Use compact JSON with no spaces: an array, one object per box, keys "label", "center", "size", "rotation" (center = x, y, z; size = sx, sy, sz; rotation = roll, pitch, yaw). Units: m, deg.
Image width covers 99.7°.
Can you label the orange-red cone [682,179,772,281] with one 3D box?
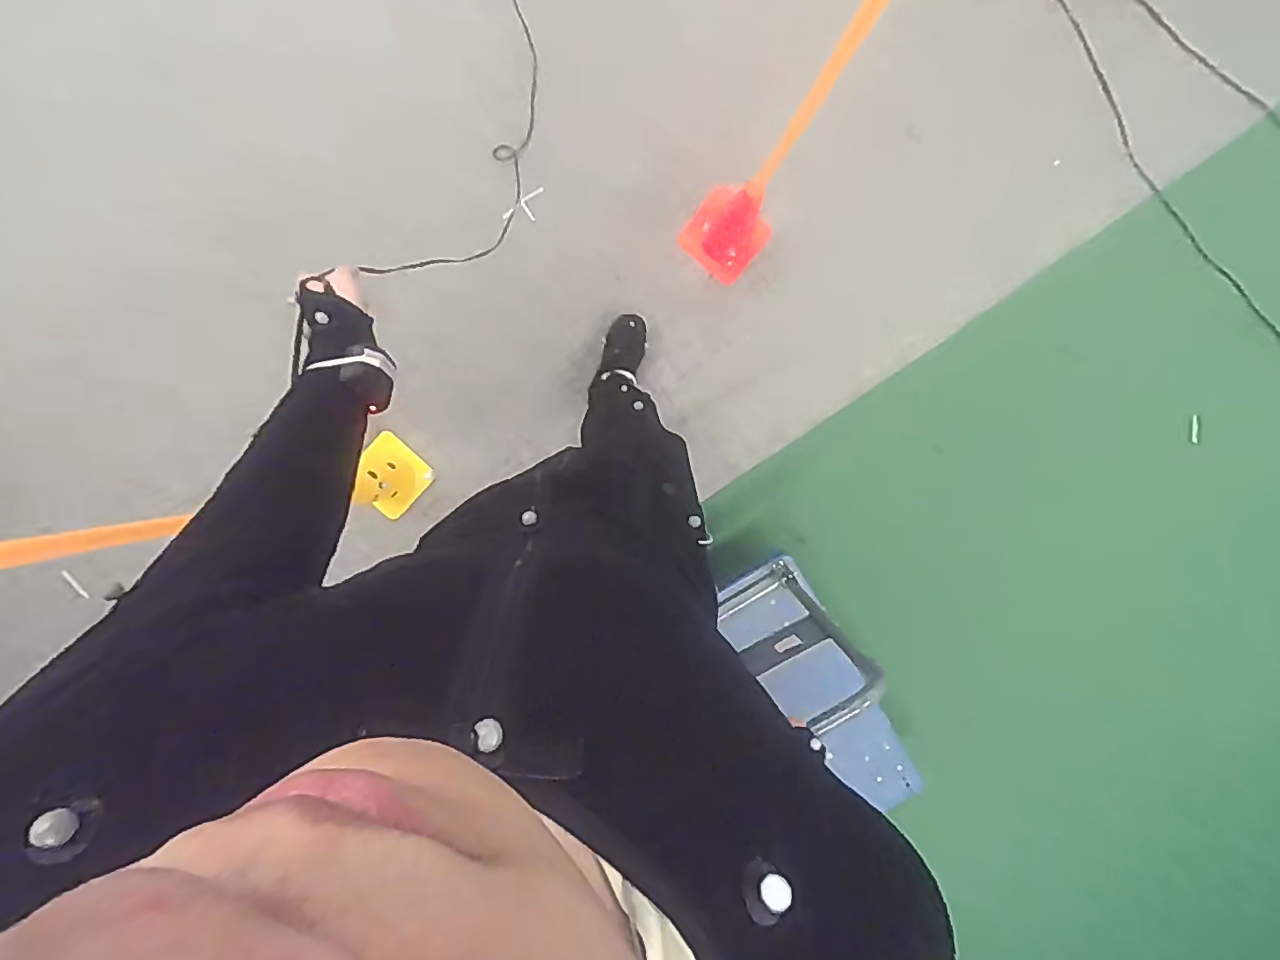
[{"label":"orange-red cone","center":[0.251,-0.660,1.339],"size":[0.198,0.360,0.199],"rotation":[41,95,-8]}]
